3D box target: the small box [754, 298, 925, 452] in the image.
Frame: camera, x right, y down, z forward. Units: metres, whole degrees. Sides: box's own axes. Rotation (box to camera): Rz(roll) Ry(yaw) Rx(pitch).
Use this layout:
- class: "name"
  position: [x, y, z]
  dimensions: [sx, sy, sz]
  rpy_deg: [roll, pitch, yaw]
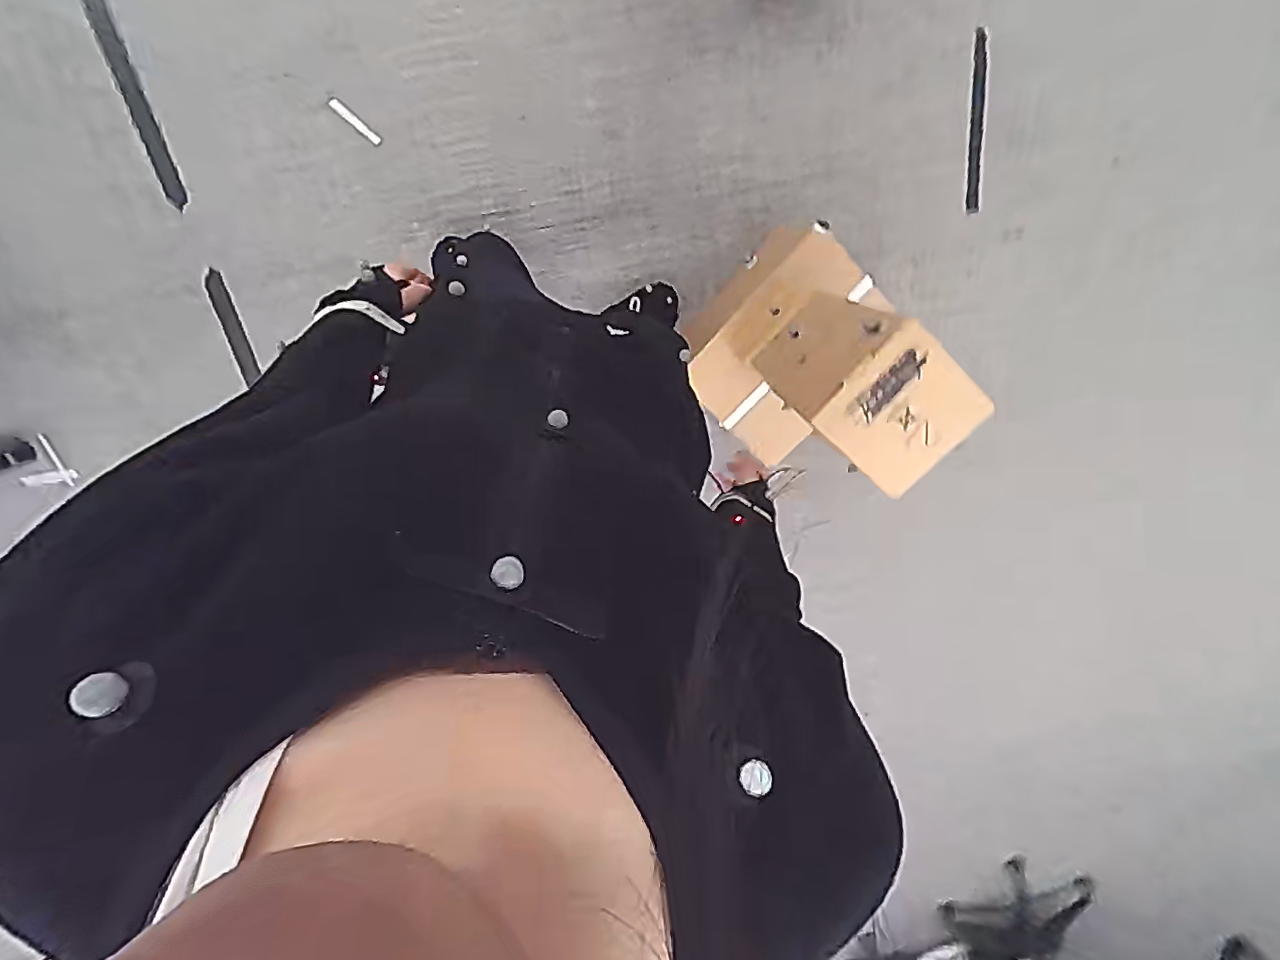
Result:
- class: "small box"
  position: [0.315, -0.180, 0.892]
  dimensions: [0.179, 0.176, 0.168]
  rpy_deg: [40, 106, -17]

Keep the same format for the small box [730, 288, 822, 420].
- class: "small box"
  position: [0.298, -0.248, 1.041]
  dimensions: [0.179, 0.176, 0.168]
  rpy_deg: [39, 106, -18]
